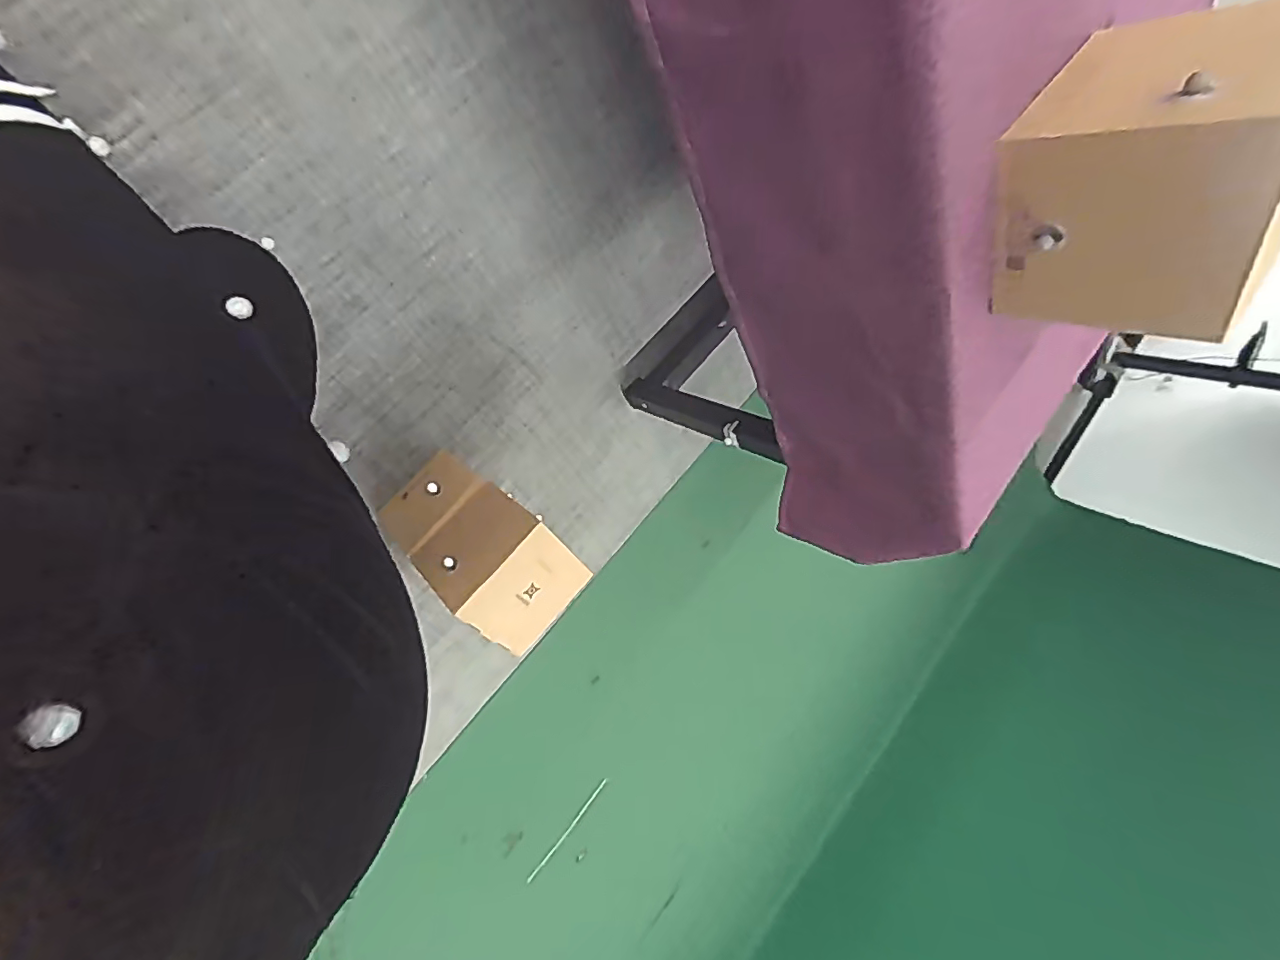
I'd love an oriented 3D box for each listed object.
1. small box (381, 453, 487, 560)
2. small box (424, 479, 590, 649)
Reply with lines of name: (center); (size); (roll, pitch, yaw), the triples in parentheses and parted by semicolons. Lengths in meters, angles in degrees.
small box: (-0.329, 0.070, 0.977); (0.168, 0.176, 0.179); (-50, 135, -12)
small box: (-0.220, 0.130, 0.871); (0.179, 0.176, 0.168); (-49, 137, -14)
